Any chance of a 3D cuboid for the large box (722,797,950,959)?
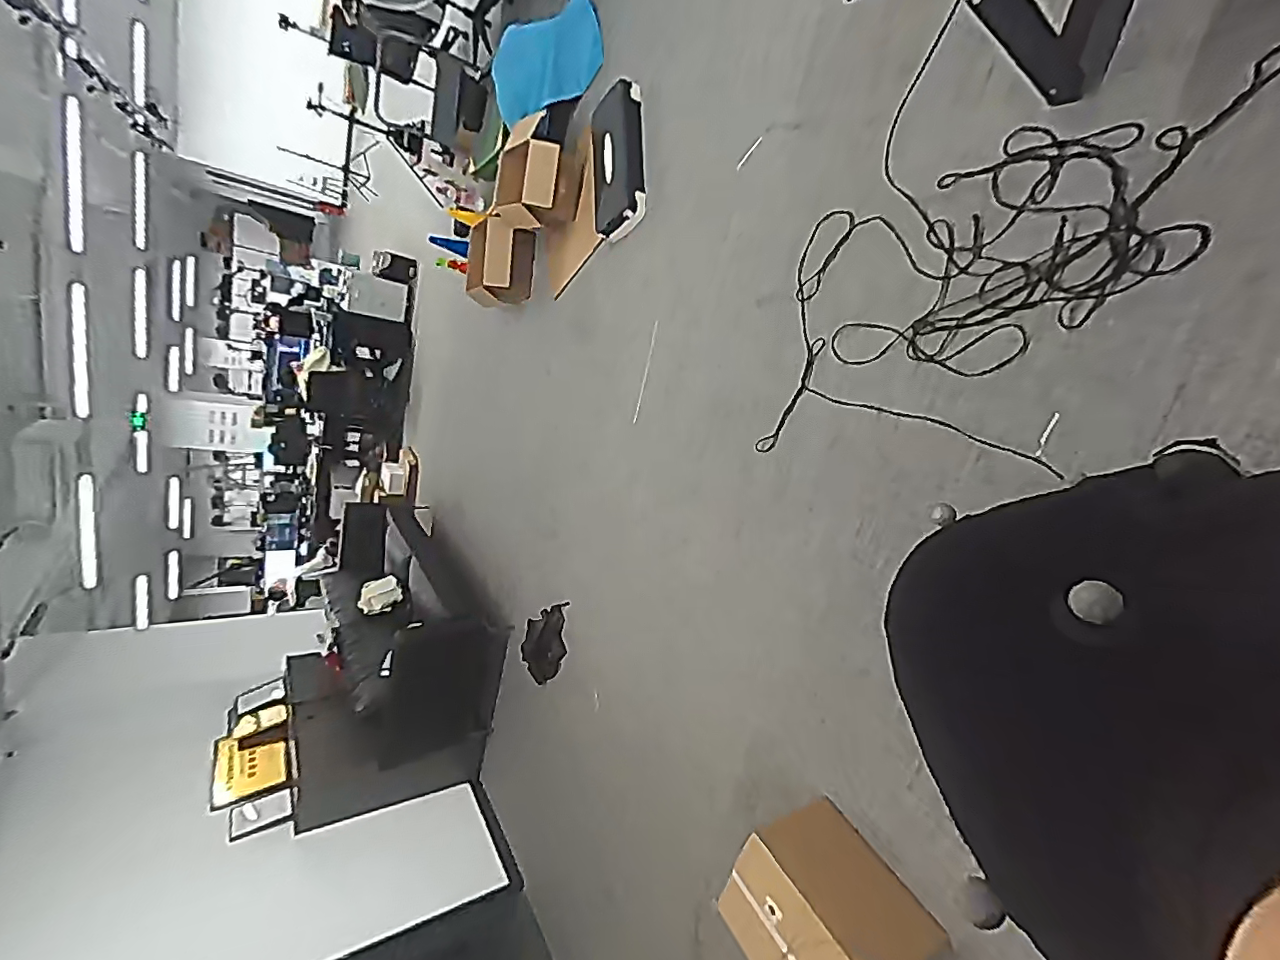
[{"bbox_3d":[0.493,1.143,1.411,0.408,0.320,0.320,40,120,48],"label":"large box"}]
